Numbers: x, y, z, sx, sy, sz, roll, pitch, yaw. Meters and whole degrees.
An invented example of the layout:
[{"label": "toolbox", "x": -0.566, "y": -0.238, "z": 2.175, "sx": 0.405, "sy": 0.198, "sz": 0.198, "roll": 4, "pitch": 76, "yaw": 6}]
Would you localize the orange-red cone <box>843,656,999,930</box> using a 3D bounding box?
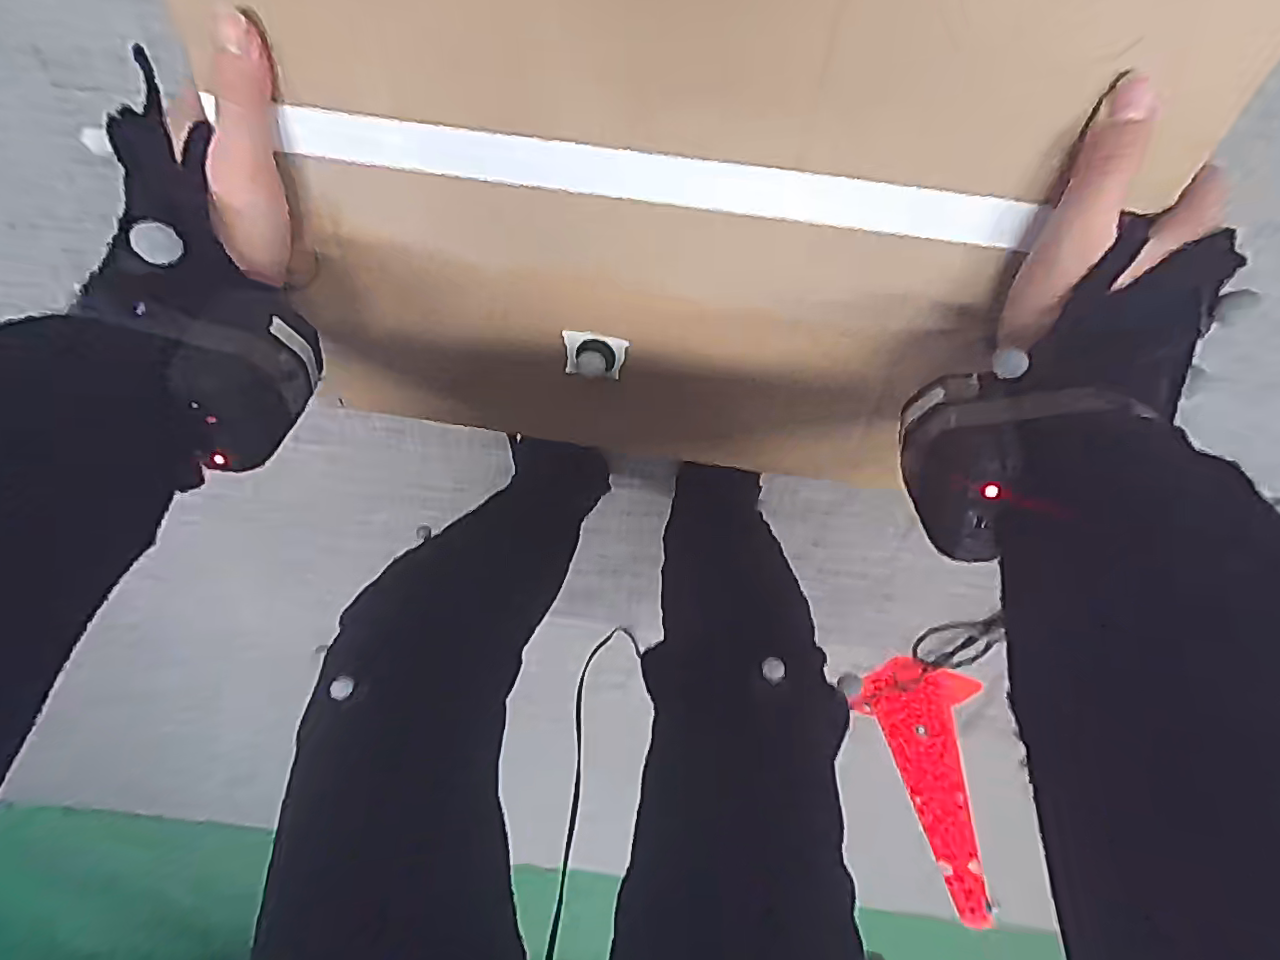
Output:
[{"label": "orange-red cone", "x": 0.501, "y": 0.510, "z": 0.891, "sx": 0.199, "sy": 0.360, "sz": 0.198, "roll": 20, "pitch": 129, "yaw": -11}]
